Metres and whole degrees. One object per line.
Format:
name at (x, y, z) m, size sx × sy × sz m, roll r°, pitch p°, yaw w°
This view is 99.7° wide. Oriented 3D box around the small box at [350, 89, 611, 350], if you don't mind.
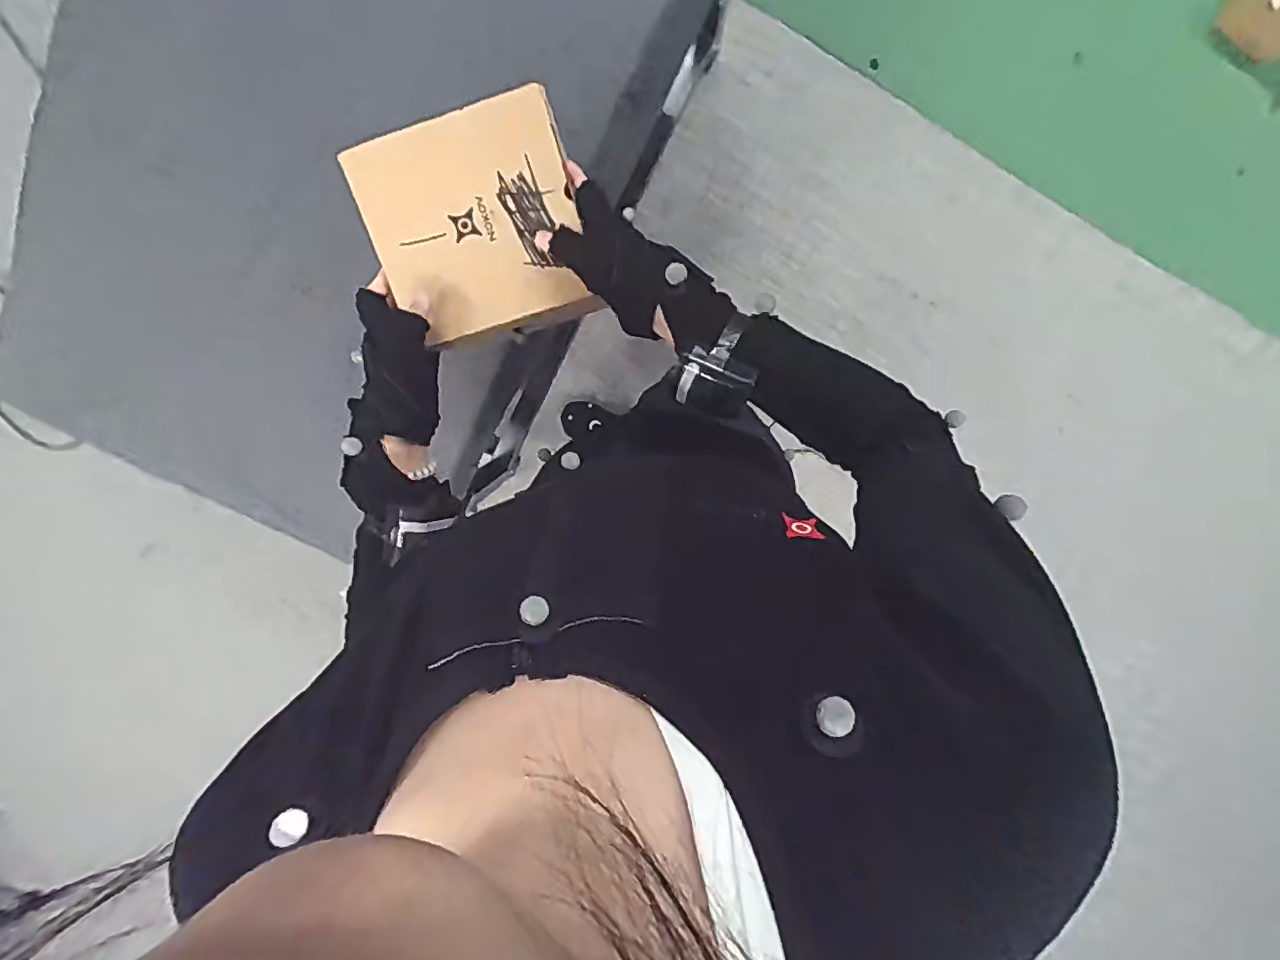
small box at (-0.133, -0.231, 0.527) m, size 0.179 × 0.176 × 0.168 m, roll -16°, pitch 103°, yaw 3°
